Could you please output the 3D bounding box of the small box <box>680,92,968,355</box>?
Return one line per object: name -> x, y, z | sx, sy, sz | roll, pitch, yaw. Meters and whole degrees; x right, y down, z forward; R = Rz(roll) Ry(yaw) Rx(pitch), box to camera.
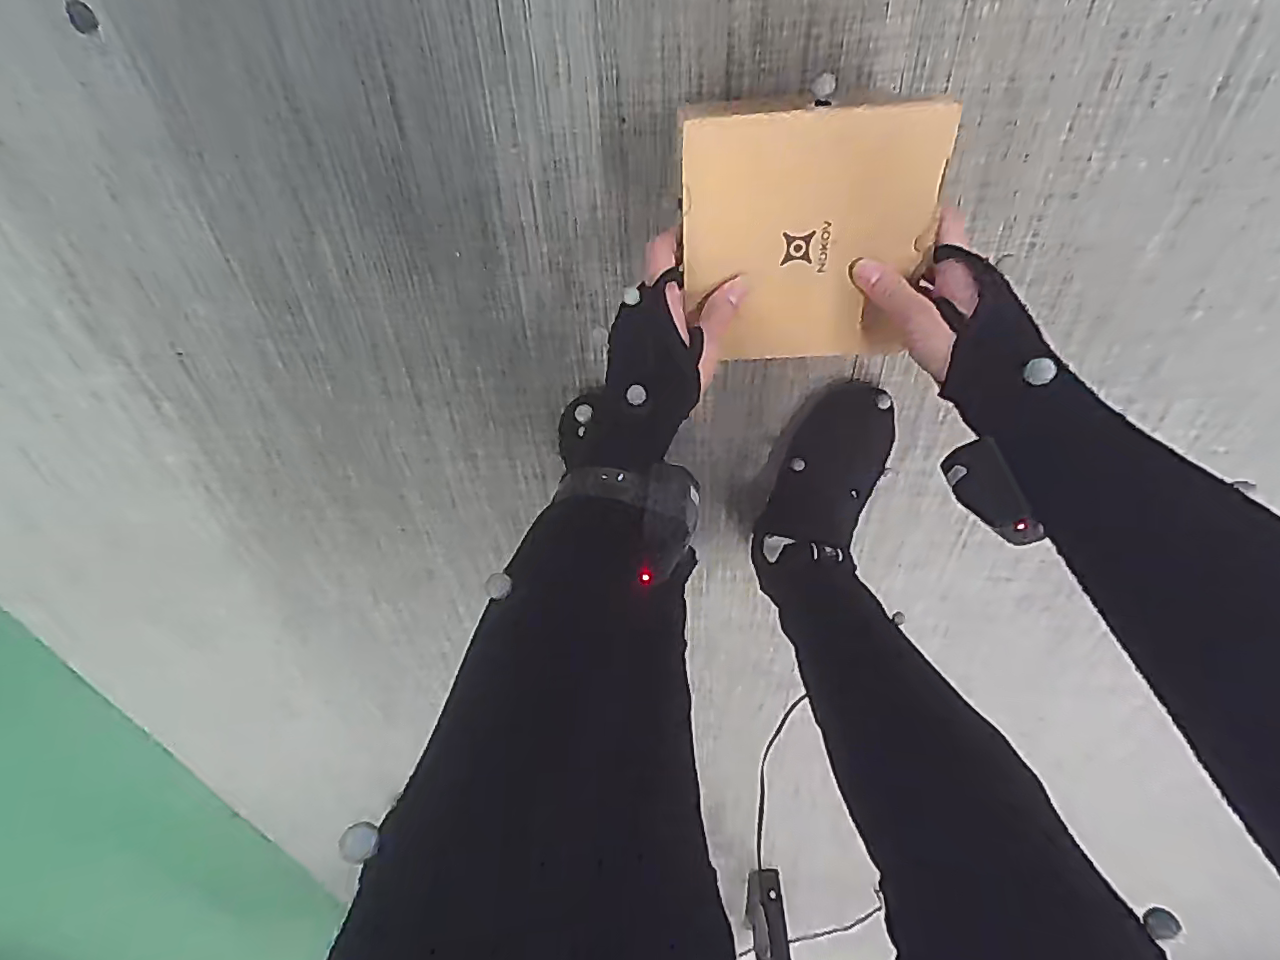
small box -> 0.121, -0.213, 0.444 | 0.179, 0.176, 0.168 | -2, 126, 3
